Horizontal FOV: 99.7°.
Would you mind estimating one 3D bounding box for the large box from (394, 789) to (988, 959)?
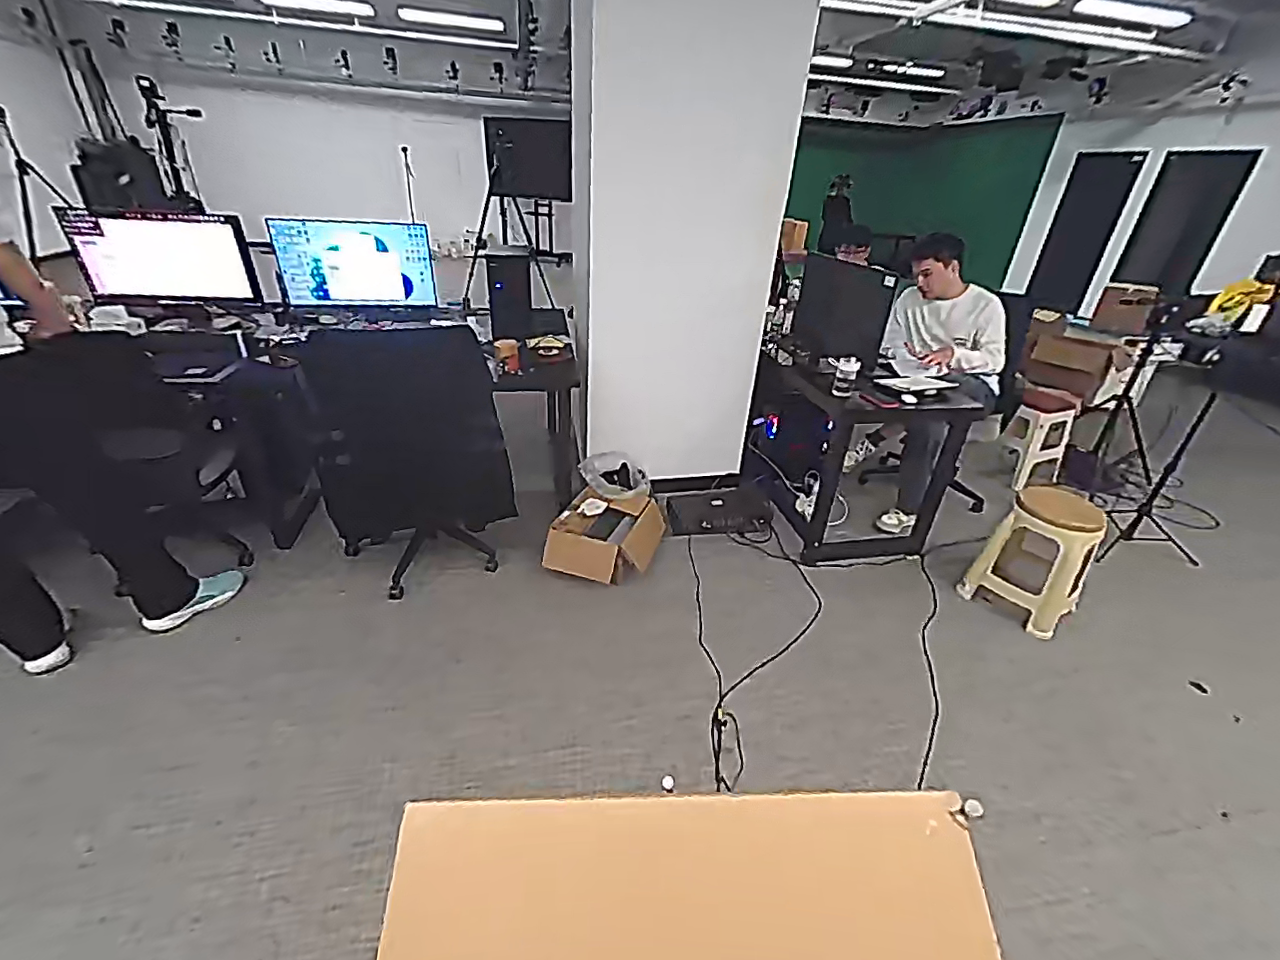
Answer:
[{"bbox_3d":[0.031,0.451,0.457,0.408,0.320,0.320,0,61,-3],"label":"large box"}]
